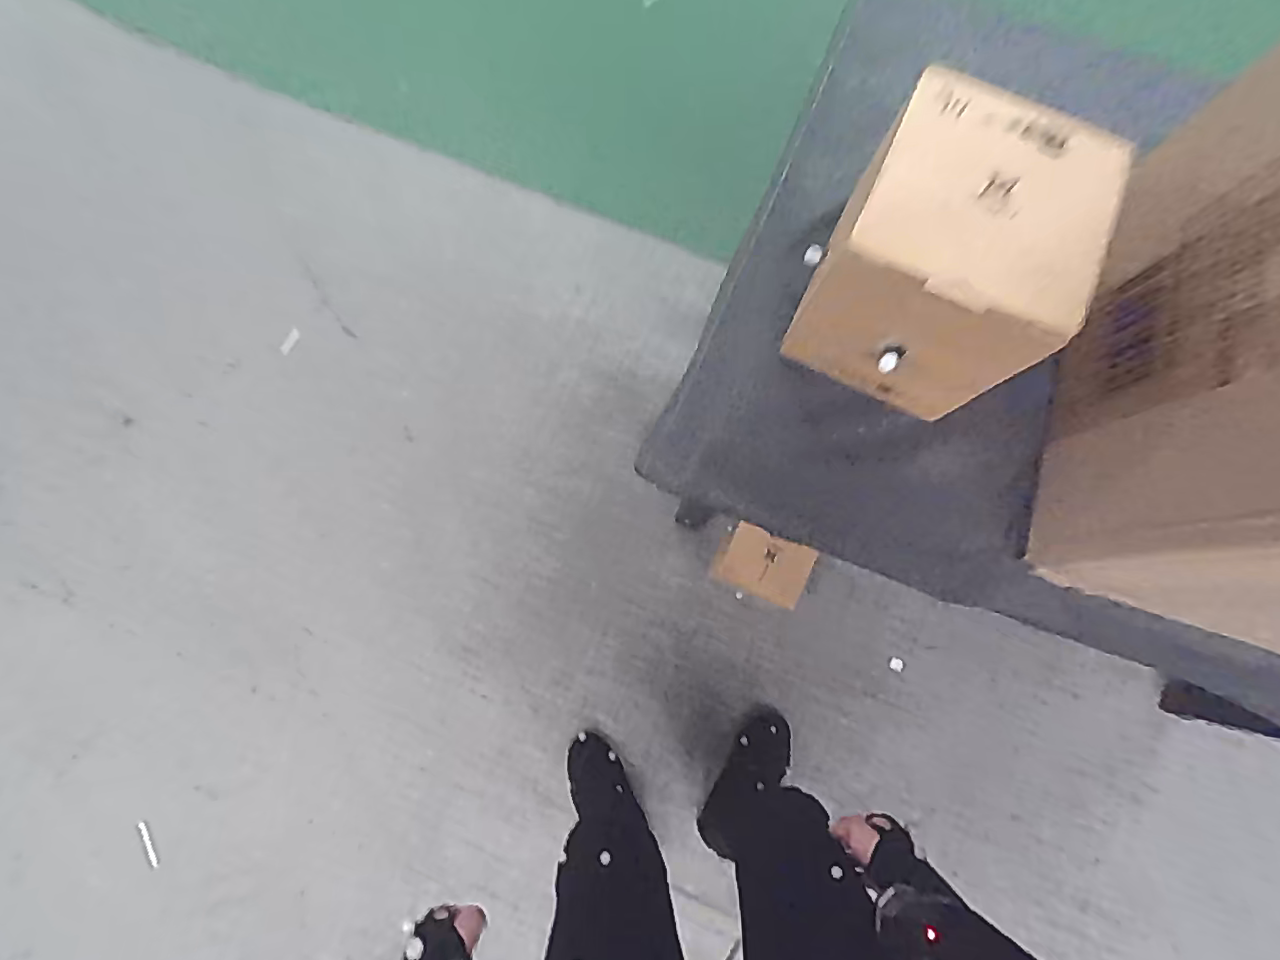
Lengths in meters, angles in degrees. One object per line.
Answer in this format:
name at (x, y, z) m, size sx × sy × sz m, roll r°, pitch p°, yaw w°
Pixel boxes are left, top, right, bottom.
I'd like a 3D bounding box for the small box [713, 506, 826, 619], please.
small box at (0.265, 0.177, 1.152) m, size 0.168 × 0.176 × 0.179 m, roll 25°, pitch 80°, yaw 6°
